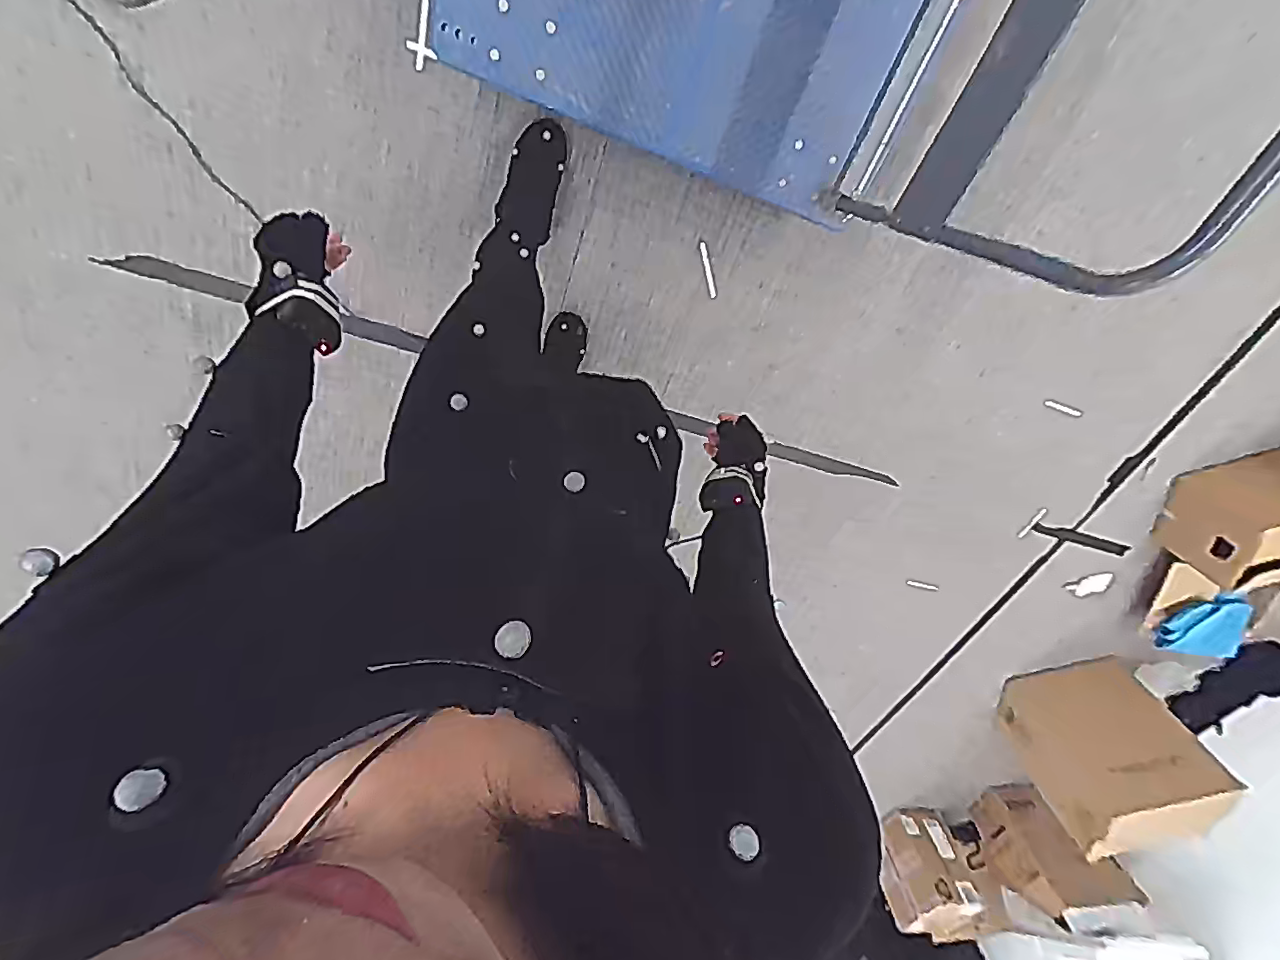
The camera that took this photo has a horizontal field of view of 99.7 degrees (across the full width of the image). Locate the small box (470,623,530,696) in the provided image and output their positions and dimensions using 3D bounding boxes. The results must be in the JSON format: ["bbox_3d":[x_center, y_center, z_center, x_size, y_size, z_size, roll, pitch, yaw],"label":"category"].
[{"bbox_3d":[-0.502,0.652,1.961,0.168,0.176,0.179,17,120,-20],"label":"small box"}]
